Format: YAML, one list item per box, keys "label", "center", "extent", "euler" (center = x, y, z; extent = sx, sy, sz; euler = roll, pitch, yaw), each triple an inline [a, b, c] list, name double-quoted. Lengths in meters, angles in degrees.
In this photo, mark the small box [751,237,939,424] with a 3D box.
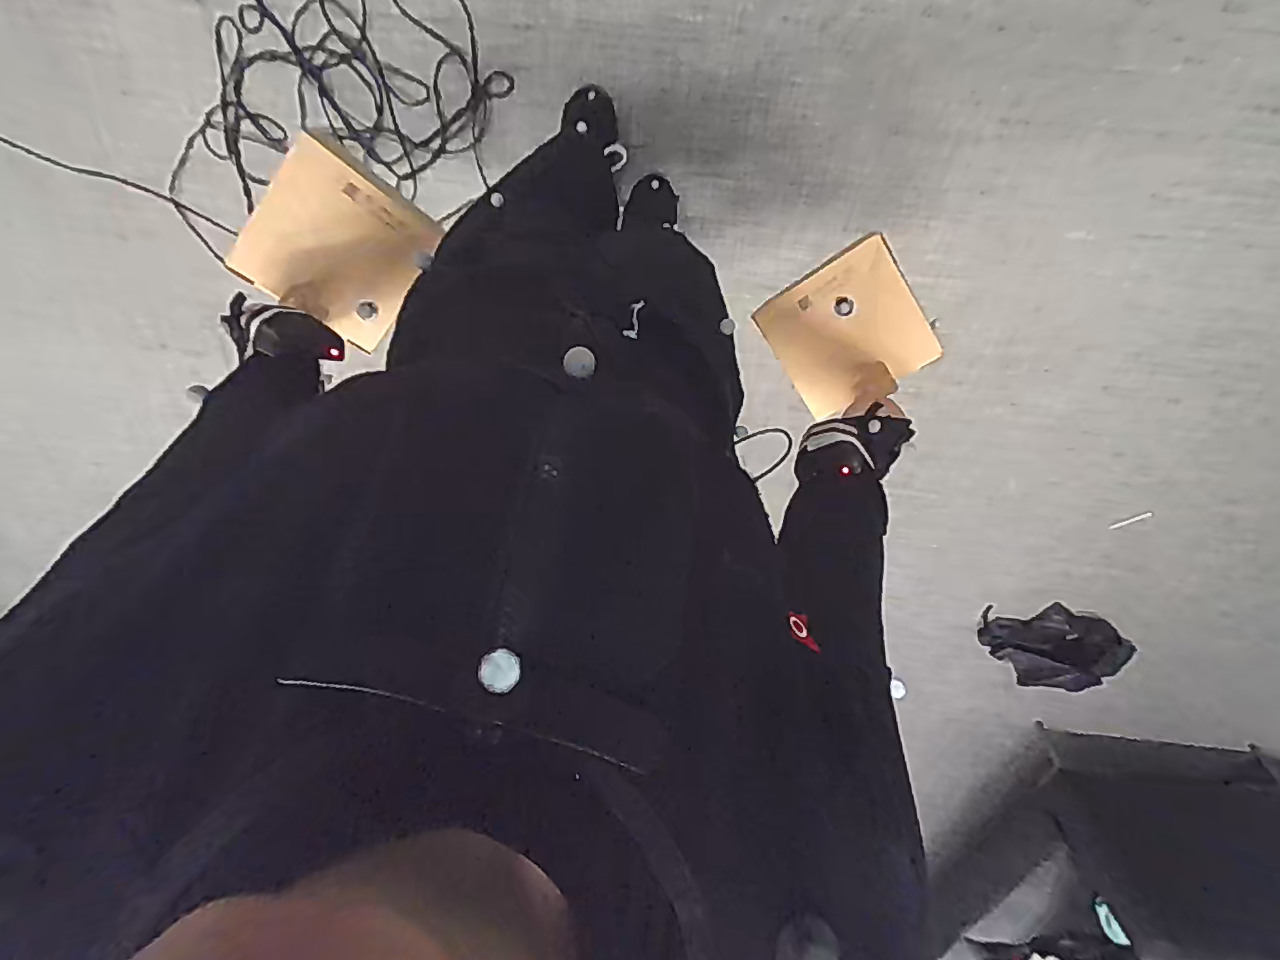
- label: "small box"
  center: [0.269, -0.207, 0.731]
  extent: [0.168, 0.179, 0.176]
  euler: [-30, 101, 27]
